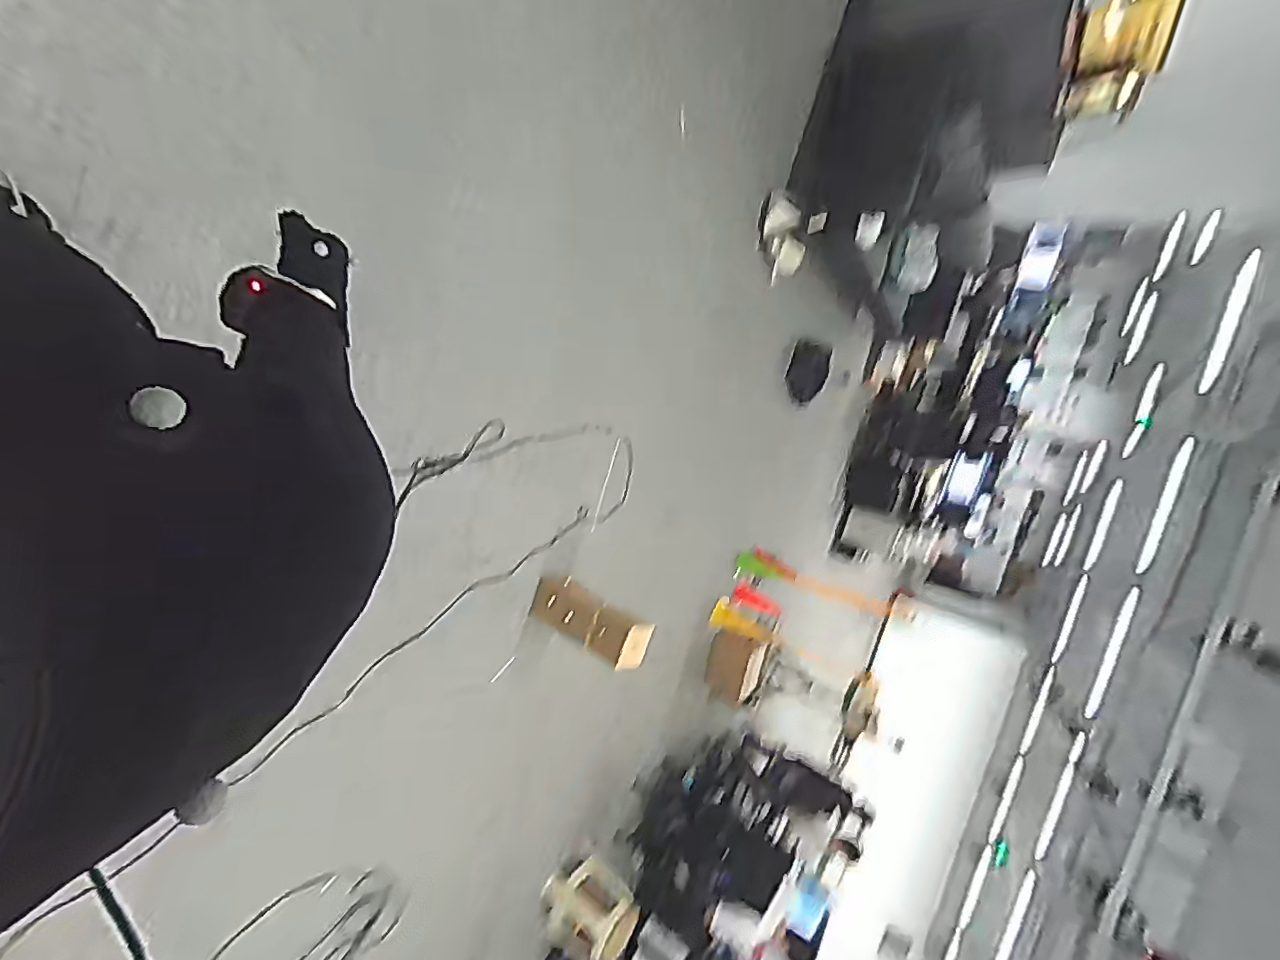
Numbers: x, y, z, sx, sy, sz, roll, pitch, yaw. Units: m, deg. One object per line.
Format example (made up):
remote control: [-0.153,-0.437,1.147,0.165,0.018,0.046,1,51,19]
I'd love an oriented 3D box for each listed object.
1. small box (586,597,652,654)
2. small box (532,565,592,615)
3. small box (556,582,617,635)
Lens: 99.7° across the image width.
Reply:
small box: [-0.085,0.581,2.180,0.179,0.176,0.168,17,93,-56]
small box: [-0.343,0.479,2.352,0.168,0.176,0.179,16,93,-56]
small box: [-0.217,0.533,2.262,0.179,0.176,0.168,17,93,-56]
